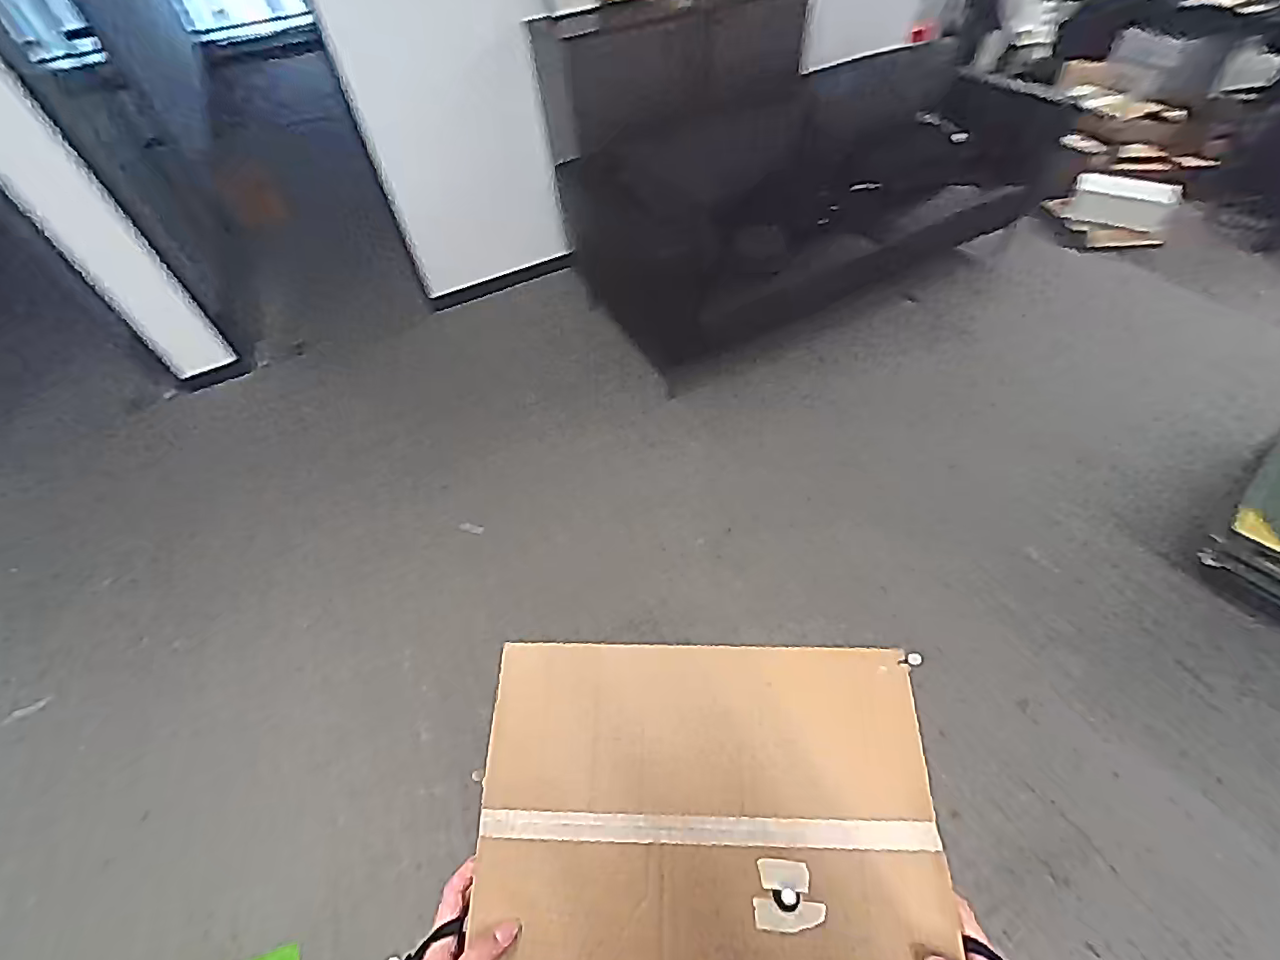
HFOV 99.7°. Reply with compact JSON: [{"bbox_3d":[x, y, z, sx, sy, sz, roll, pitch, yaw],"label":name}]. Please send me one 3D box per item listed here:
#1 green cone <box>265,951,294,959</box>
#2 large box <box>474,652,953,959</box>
[{"bbox_3d":[-0.873,1.079,1.047,0.202,0.368,0.200,-20,52,-10],"label":"green cone"},{"bbox_3d":[0.060,0.385,0.617,0.408,0.320,0.320,-1,64,1],"label":"large box"}]
